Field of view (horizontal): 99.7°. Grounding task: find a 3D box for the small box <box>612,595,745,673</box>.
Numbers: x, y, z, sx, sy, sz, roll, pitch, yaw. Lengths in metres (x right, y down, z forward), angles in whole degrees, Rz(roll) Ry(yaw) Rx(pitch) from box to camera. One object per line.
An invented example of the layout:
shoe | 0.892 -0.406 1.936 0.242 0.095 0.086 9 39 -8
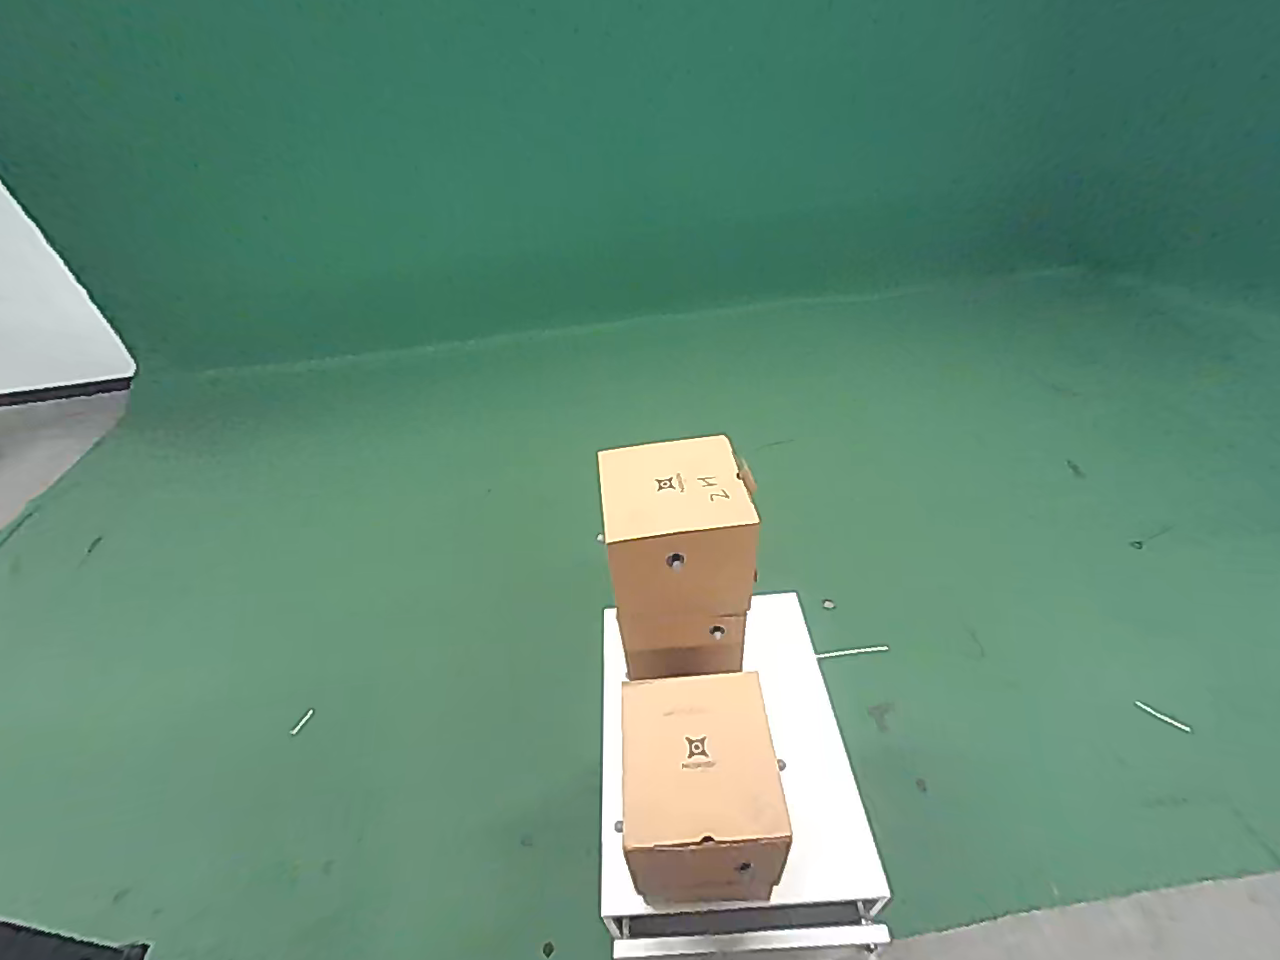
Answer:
small box | 0.058 0.176 0.811 0.179 0.176 0.168 -2 41 3

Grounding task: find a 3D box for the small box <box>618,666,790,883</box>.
small box | 0.064 0.341 0.622 0.168 0.176 0.179 -5 41 0

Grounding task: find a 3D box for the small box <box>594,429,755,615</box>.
small box | 0.041 0.057 0.698 0.179 0.176 0.168 -7 42 -2

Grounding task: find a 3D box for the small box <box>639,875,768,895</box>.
small box | 0.082 0.449 0.742 0.179 0.176 0.168 -2 40 3
